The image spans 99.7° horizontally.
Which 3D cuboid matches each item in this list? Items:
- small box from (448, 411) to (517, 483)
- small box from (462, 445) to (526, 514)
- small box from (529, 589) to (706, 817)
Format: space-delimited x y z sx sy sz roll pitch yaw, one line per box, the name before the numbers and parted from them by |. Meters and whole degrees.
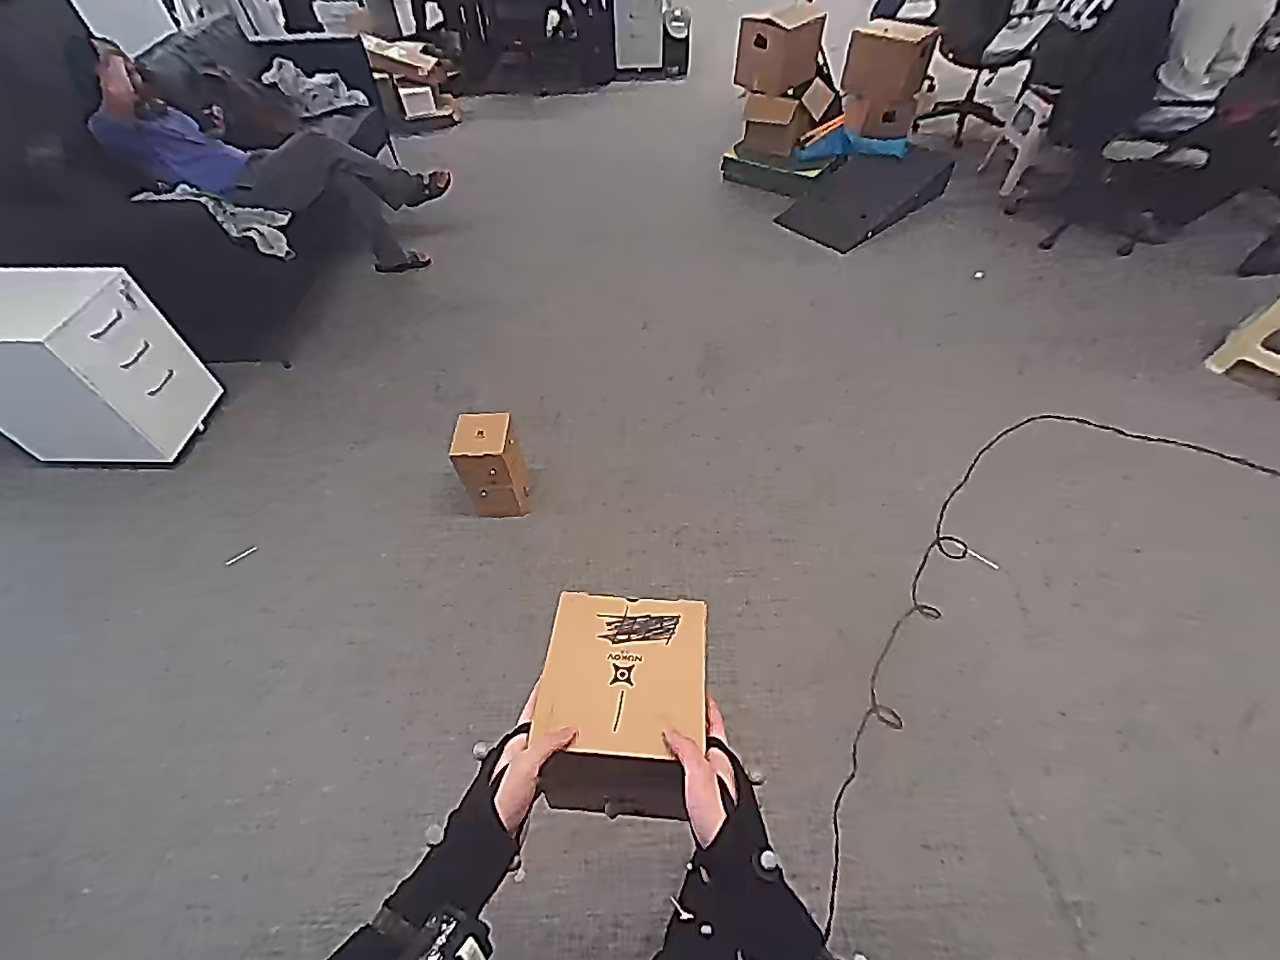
small box | -0.502 -0.102 1.746 0.168 0.176 0.179 -2 51 -1
small box | -0.497 -0.002 1.874 0.168 0.176 0.179 -1 52 1
small box | -0.015 0.248 0.608 0.168 0.176 0.179 3 42 4
